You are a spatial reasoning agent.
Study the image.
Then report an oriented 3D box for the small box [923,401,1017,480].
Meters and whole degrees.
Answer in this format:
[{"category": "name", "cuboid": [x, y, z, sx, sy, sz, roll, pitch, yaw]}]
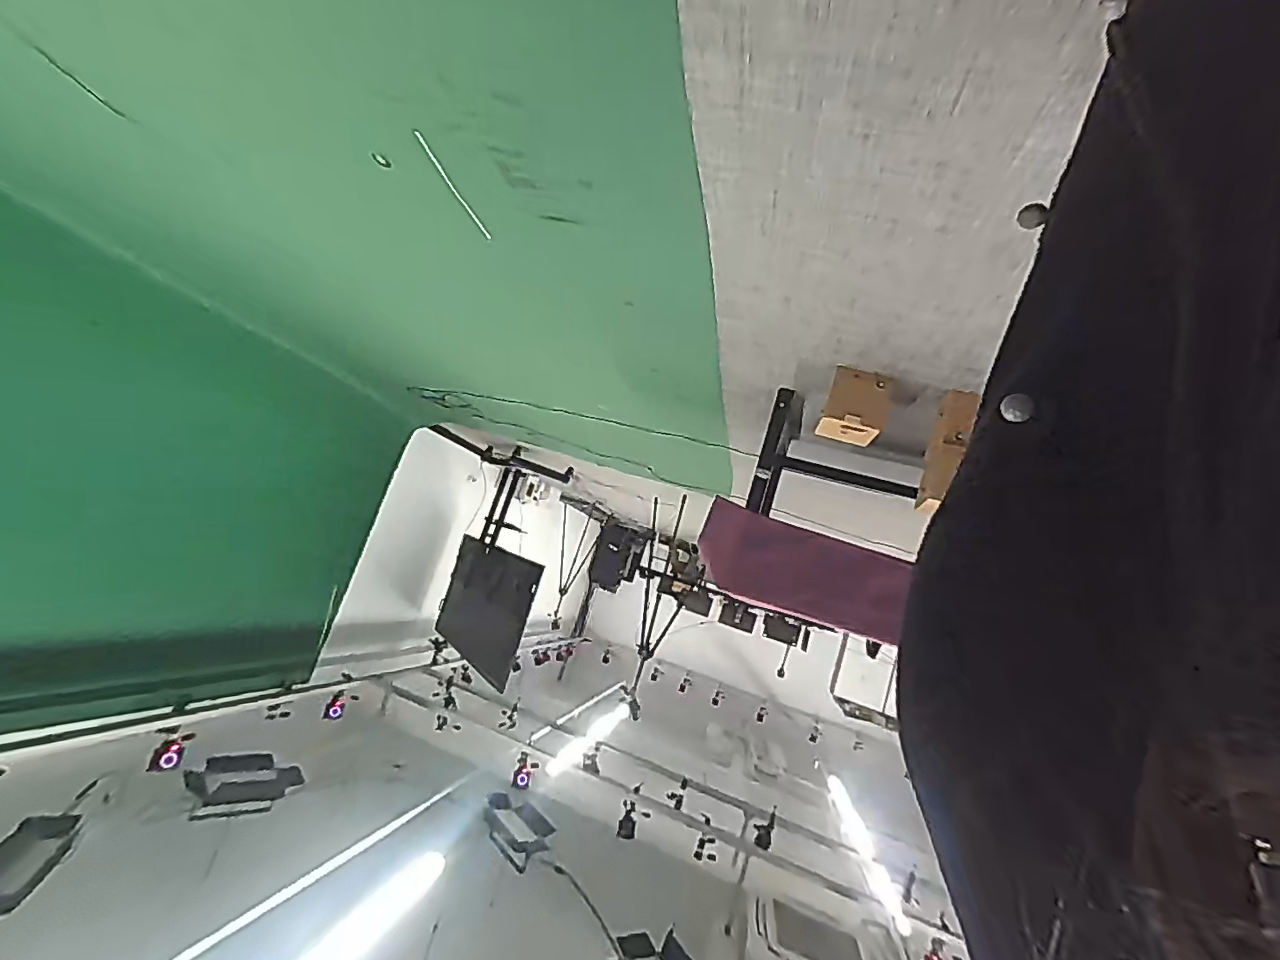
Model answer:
[{"category": "small box", "cuboid": [0.965, -0.117, 1.584, 0.179, 0.176, 0.168, 17, 170, 16]}]
